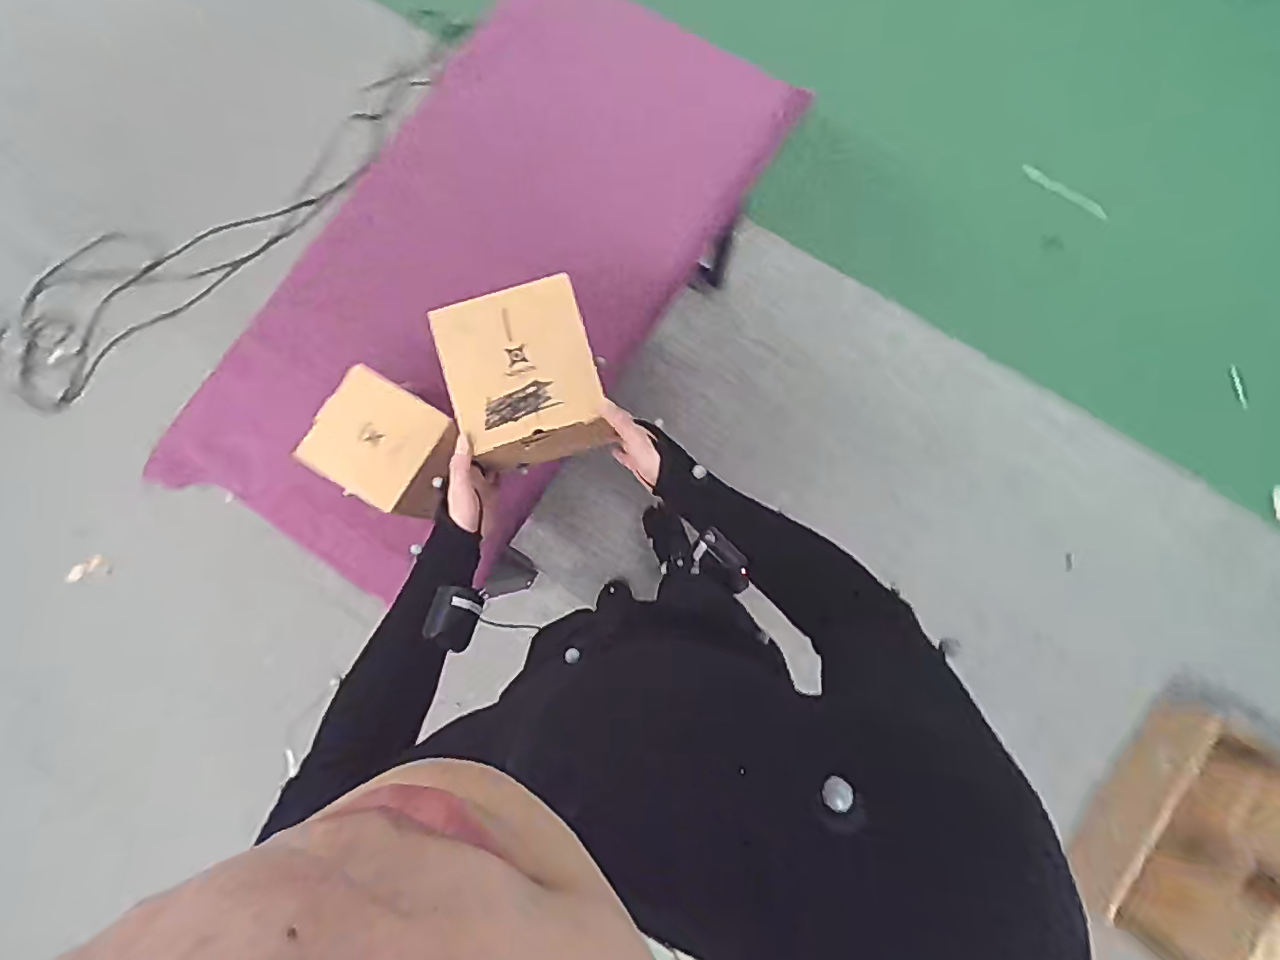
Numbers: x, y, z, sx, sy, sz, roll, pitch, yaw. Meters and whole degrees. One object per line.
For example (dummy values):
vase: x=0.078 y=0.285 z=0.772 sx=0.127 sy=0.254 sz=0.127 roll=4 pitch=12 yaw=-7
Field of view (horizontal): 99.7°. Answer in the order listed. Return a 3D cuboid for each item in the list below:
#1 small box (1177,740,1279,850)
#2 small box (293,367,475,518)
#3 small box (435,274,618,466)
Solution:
small box: x=1.564 y=0.806 z=1.385 sx=0.179 sy=0.176 sz=0.168 roll=37 pitch=84 yaw=5
small box: x=-0.393 y=-0.047 z=0.869 sx=0.179 sy=0.176 sz=0.168 roll=30 pitch=84 yaw=5
small box: x=-0.129 y=-0.121 z=0.681 sx=0.168 sy=0.176 sz=0.179 roll=-16 pitch=84 yaw=-1
